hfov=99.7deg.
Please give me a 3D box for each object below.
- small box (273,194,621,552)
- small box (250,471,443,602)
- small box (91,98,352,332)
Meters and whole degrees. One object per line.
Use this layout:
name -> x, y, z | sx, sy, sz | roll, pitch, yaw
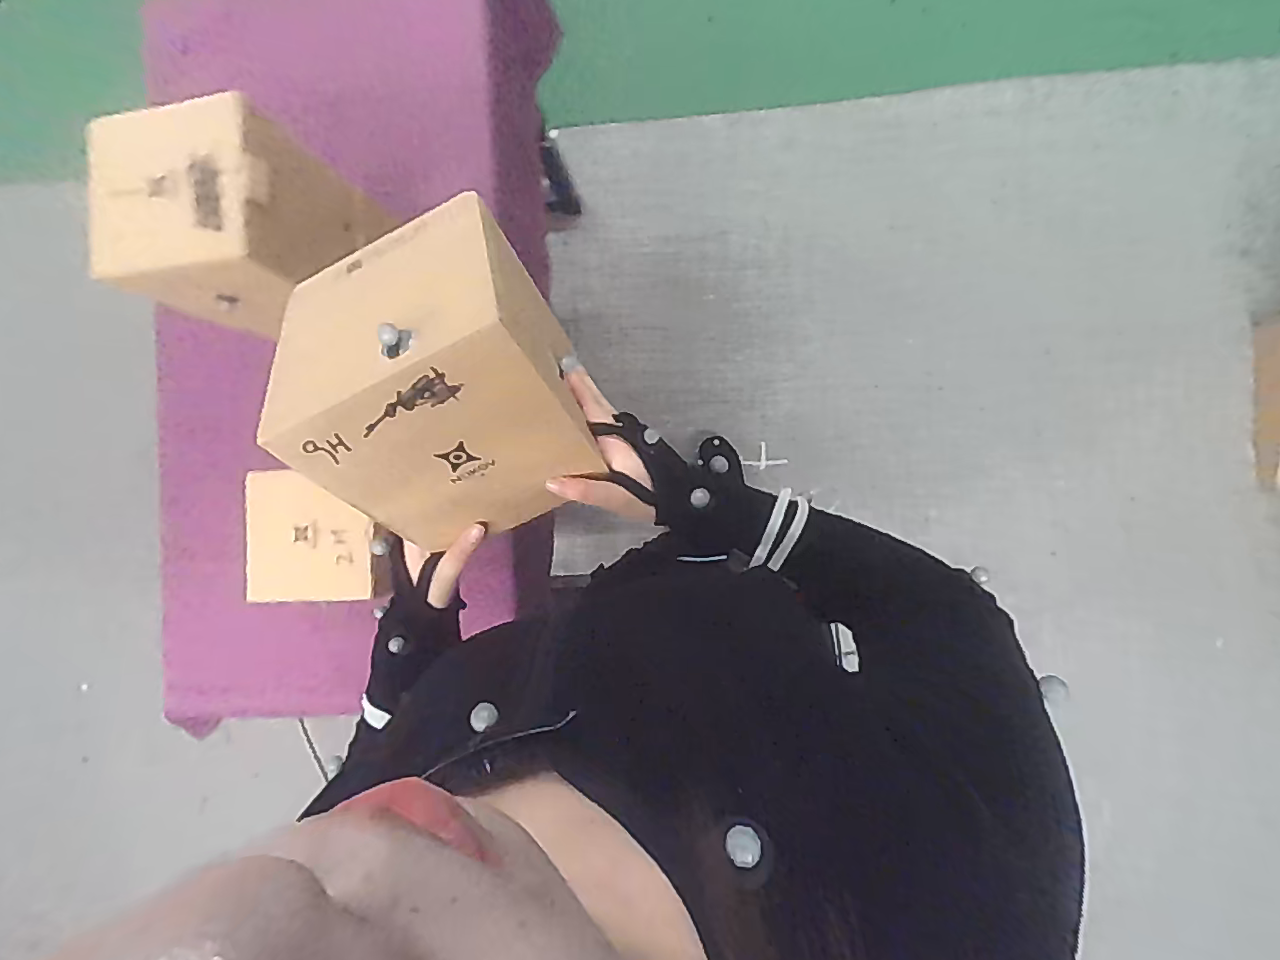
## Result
small box -> -0.134, -0.076, 0.420 | 0.168, 0.179, 0.176 | -24, 53, 7
small box -> -0.397, 0.074, 0.752 | 0.179, 0.176, 0.168 | -3, 88, 8
small box -> -0.449, -0.278, 0.607 | 0.179, 0.176, 0.168 | -5, 87, 9
